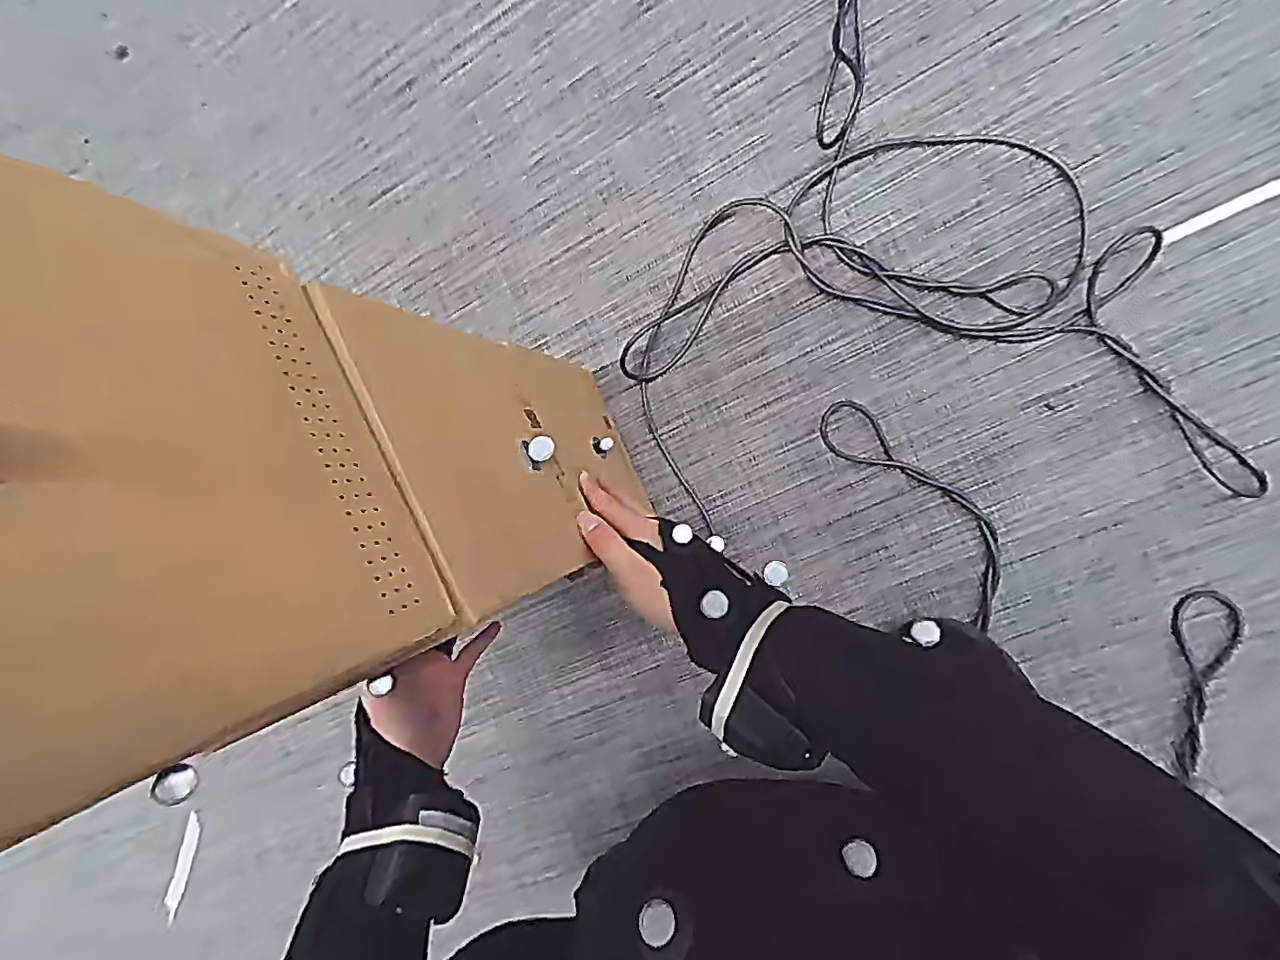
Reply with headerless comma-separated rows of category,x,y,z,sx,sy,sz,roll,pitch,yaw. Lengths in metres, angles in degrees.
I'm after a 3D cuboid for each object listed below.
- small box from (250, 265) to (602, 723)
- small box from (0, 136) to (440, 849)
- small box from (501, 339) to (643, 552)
small box,-0.150,0.015,0.319,0.179,0.176,0.168,-27,86,15
small box,-0.201,0.016,0.163,0.168,0.176,0.179,-28,86,16
small box,-0.111,0.000,0.478,0.179,0.176,0.168,-25,86,16
